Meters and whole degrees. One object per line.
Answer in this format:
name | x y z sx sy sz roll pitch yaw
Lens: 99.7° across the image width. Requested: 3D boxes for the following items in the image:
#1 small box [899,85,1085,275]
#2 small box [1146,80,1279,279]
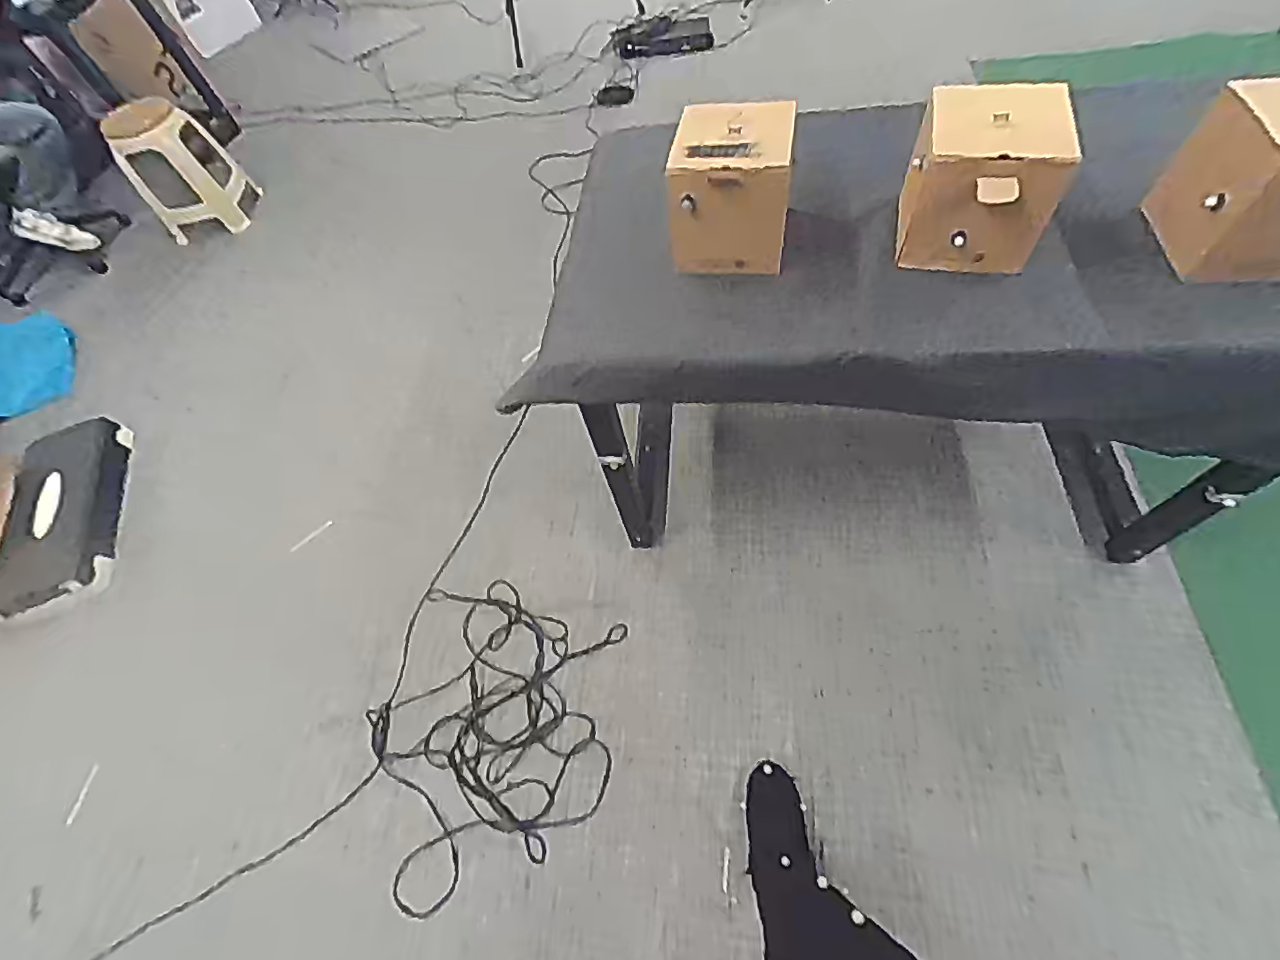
small box | 0.475 -0.418 0.759 0.168 0.176 0.179 10 61 14
small box | 0.803 -0.370 0.677 0.168 0.176 0.179 3 58 9
